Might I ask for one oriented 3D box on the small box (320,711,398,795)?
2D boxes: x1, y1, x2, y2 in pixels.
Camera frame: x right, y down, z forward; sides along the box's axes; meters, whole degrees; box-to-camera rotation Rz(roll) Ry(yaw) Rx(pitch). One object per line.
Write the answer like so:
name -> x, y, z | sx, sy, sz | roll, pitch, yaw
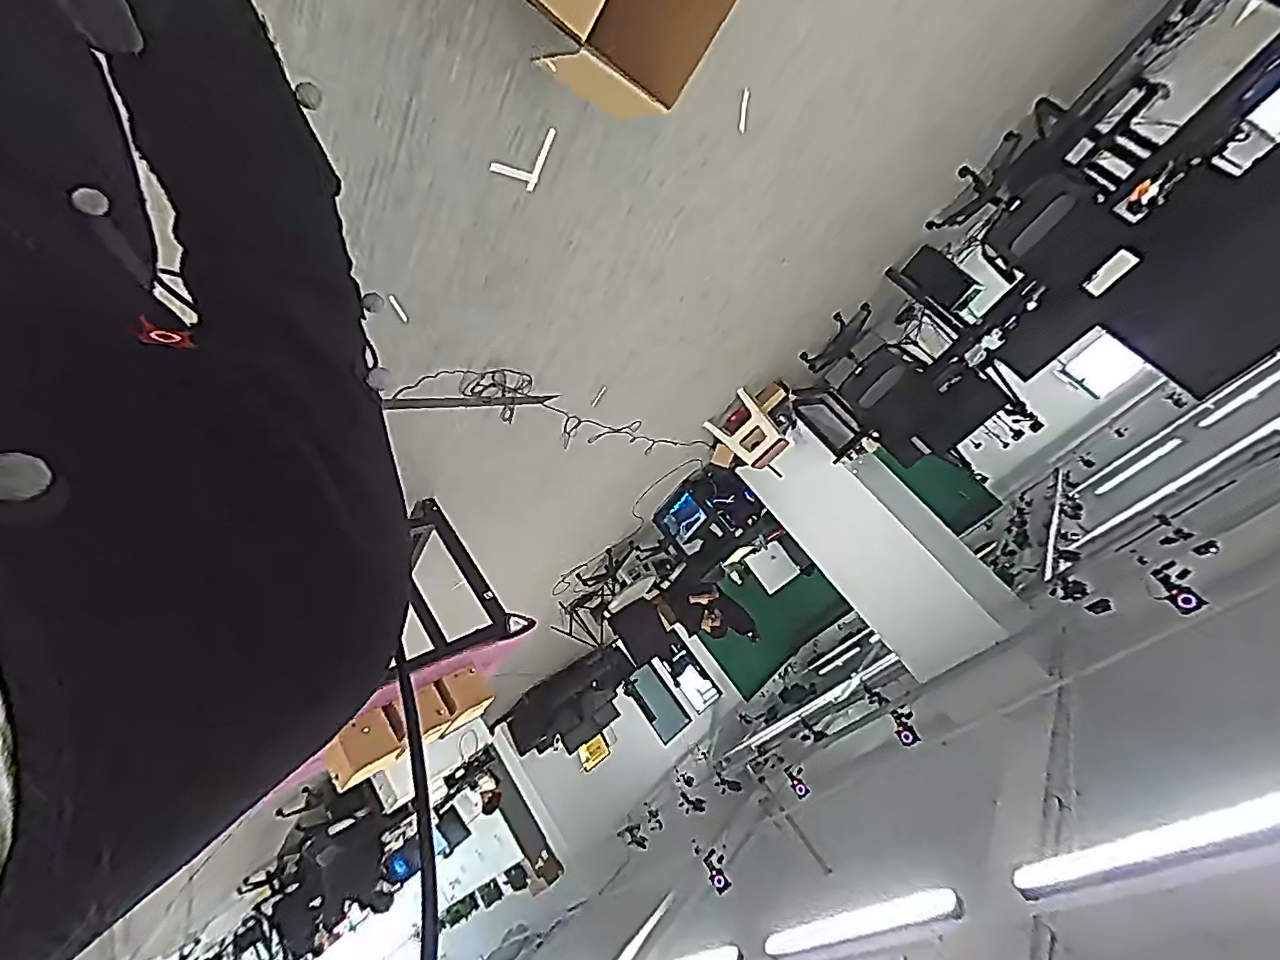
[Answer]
small box -> -0.973, 0.933, 1.860 | 0.168, 0.176, 0.179 | -13, 148, -54
